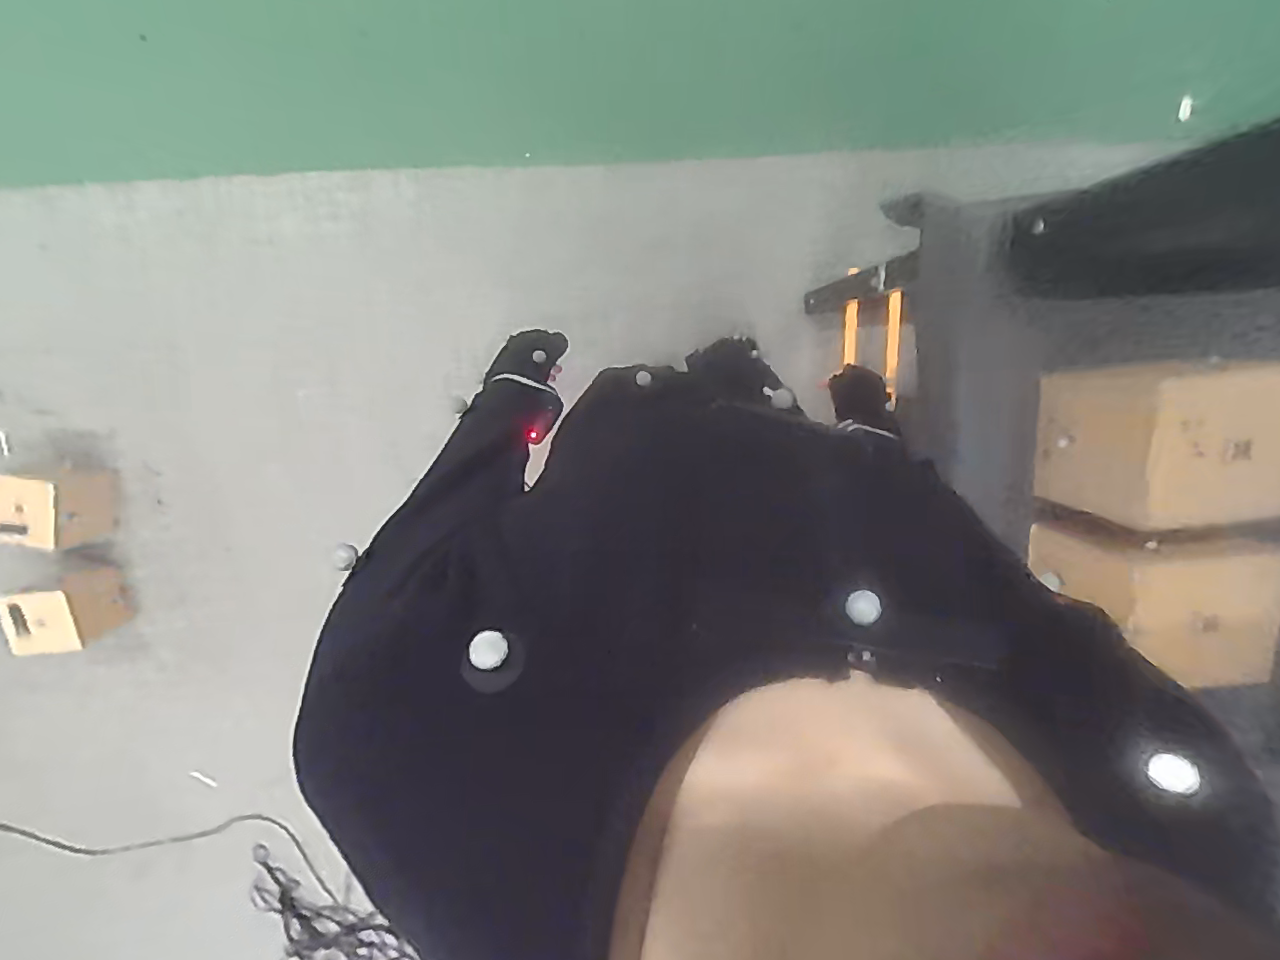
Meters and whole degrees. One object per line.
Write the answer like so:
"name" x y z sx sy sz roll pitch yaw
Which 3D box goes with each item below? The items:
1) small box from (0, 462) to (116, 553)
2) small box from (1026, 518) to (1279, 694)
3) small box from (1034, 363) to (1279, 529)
"small box" -1.486 0.064 1.368 0.168 0.176 0.179 11 100 -4
"small box" 0.646 0.148 0.695 0.179 0.176 0.168 -6 101 0
"small box" 0.625 -0.050 0.649 0.179 0.176 0.168 -6 102 0
